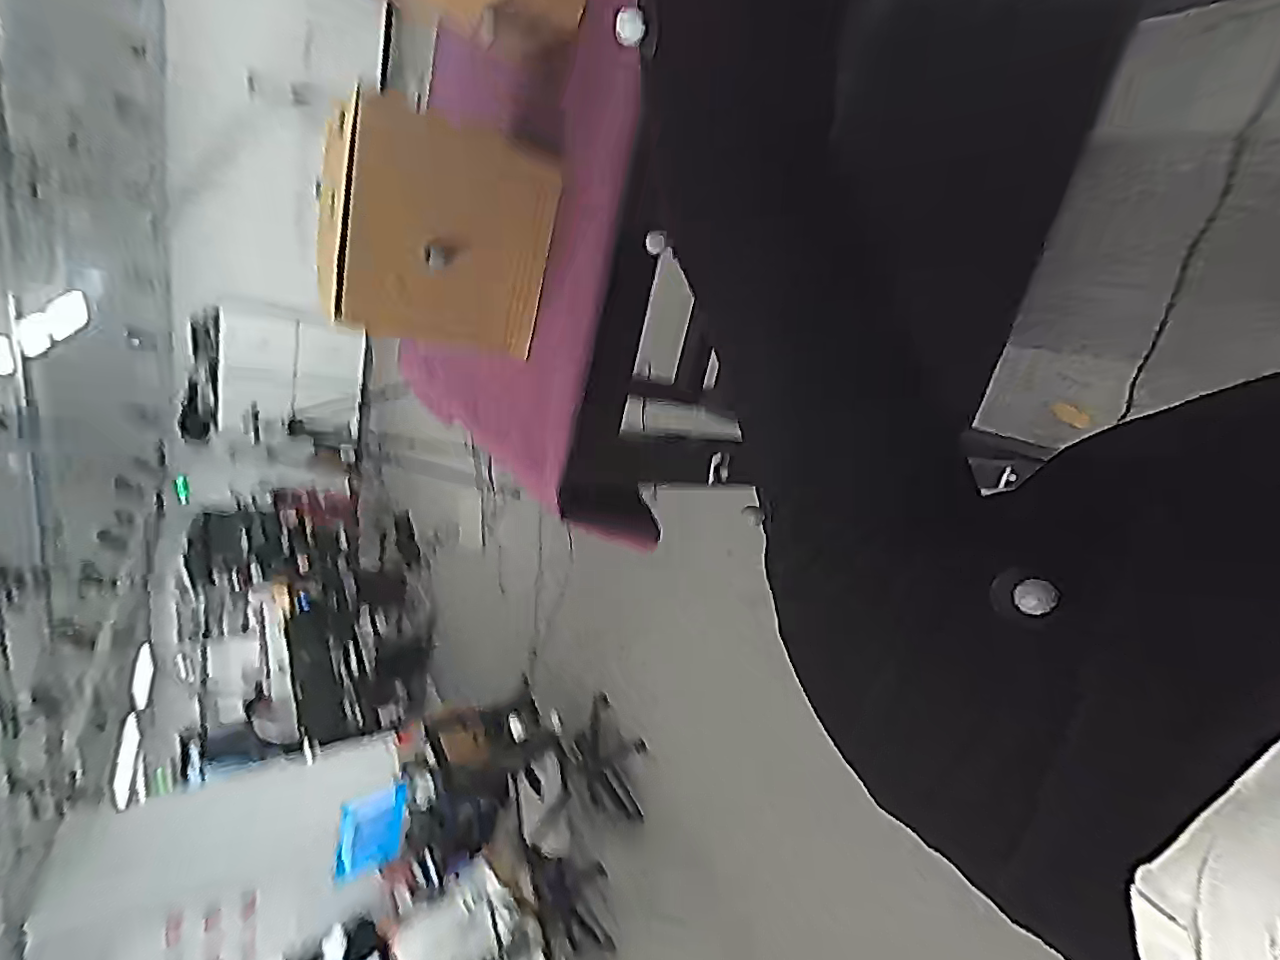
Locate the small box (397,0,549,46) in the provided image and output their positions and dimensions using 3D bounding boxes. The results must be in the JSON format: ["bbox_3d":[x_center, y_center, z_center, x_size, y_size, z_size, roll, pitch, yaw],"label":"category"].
[{"bbox_3d":[-0.164,-0.493,0.429,0.168,0.176,0.179,39,121,46],"label":"small box"}]

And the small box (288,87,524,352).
[{"bbox_3d":[-0.224,-0.230,0.510,0.168,0.176,0.179,36,118,45],"label":"small box"}]
